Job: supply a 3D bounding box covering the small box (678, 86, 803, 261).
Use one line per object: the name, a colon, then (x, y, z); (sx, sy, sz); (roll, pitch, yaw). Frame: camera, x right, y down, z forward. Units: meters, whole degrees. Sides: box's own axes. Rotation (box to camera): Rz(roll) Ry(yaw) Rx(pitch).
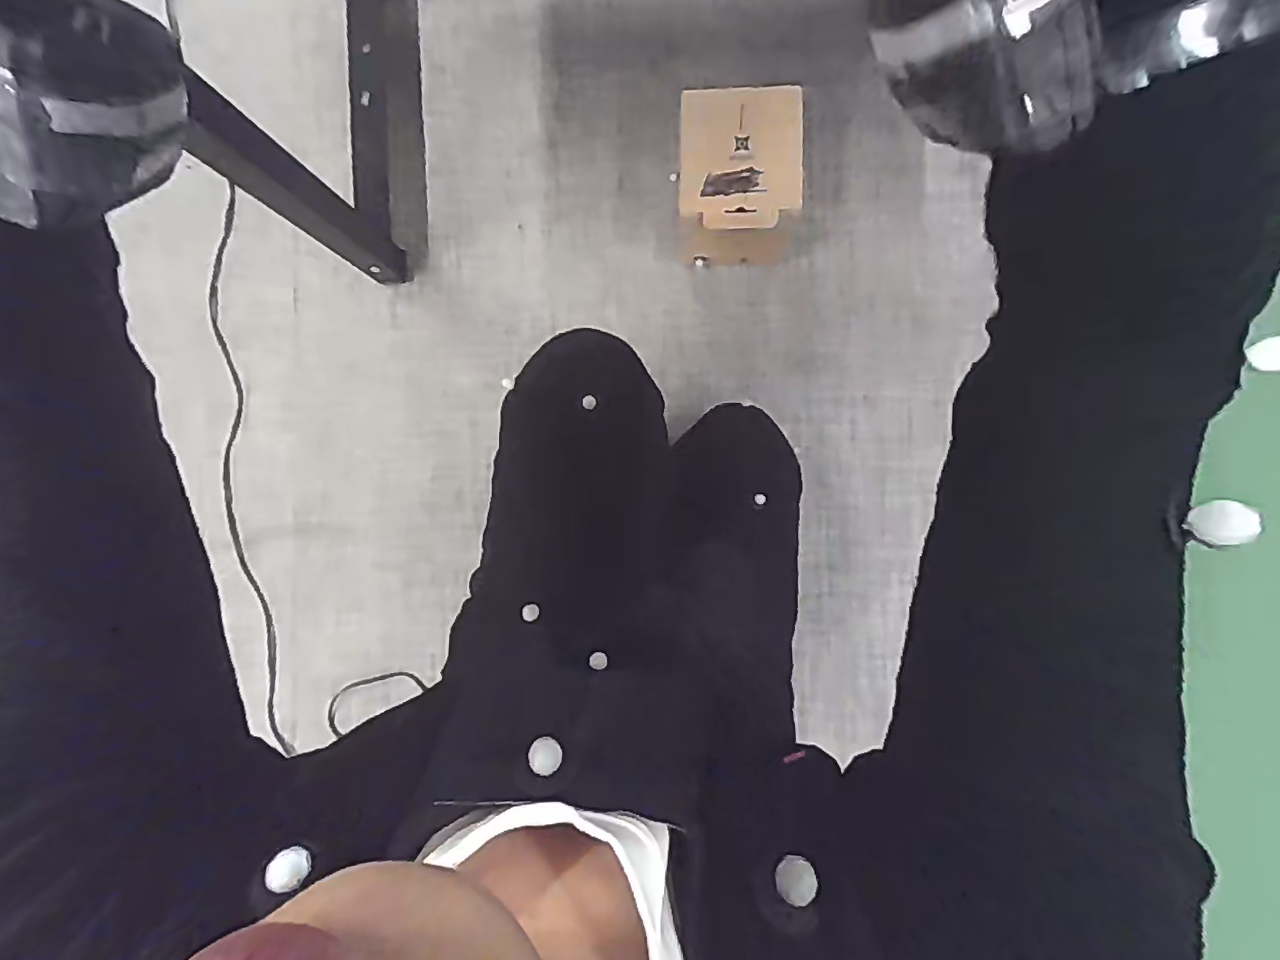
small box: (0.143, -0.446, 0.814); (0.168, 0.176, 0.179); (1, 88, 4)
